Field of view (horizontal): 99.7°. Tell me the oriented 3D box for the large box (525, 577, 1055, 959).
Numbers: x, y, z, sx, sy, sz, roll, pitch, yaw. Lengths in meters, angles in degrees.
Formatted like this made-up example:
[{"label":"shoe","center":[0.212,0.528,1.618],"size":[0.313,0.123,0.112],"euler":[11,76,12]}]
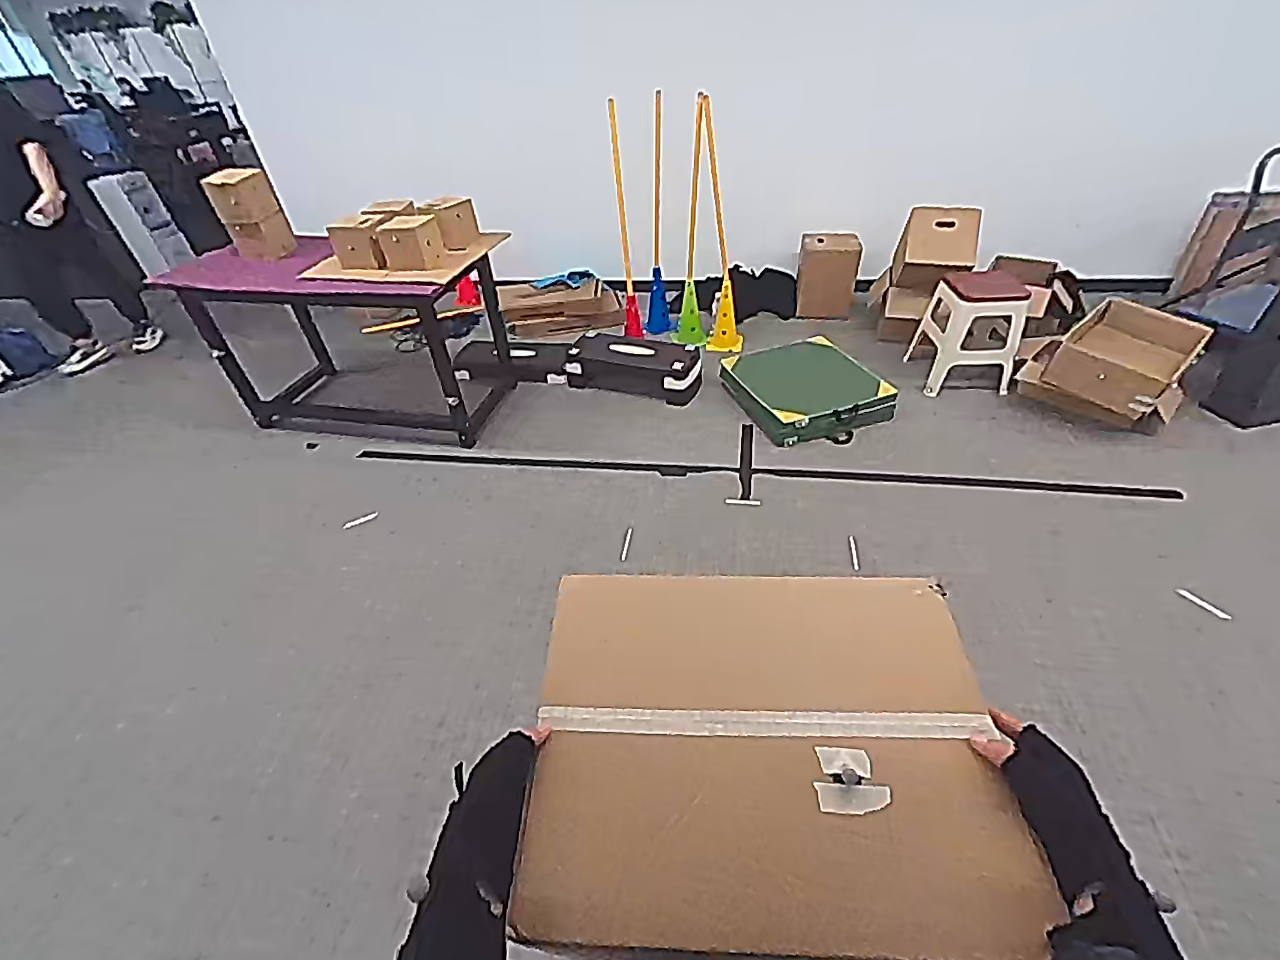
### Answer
[{"label":"large box","center":[0.118,0.324,0.612],"size":[0.408,0.320,0.320],"euler":[0,48,4]}]
